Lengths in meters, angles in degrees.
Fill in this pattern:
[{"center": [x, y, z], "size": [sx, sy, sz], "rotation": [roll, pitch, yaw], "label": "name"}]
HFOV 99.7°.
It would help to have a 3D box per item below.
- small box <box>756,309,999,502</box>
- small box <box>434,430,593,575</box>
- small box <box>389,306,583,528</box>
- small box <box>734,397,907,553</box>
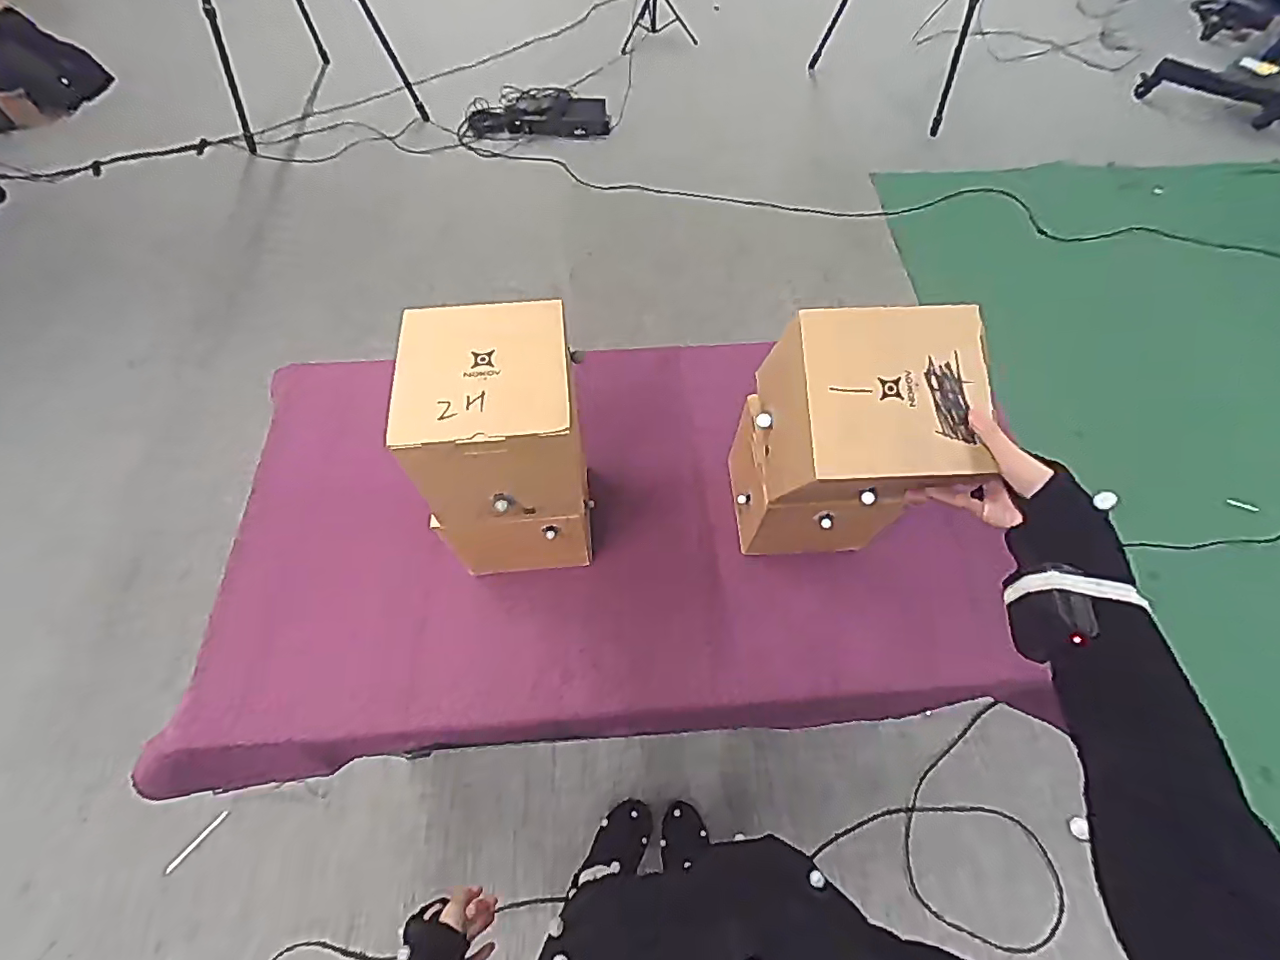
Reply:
[{"center": [0.235, -0.068, 0.578], "size": [0.179, 0.176, 0.168], "rotation": [-3, 81, -2], "label": "small box"}, {"center": [-0.162, 0.022, 0.739], "size": [0.179, 0.176, 0.168], "rotation": [-5, 60, -4], "label": "small box"}, {"center": [-0.154, -0.066, 0.599], "size": [0.168, 0.176, 0.179], "rotation": [-6, 60, -4], "label": "small box"}, {"center": [0.232, -0.003, 0.754], "size": [0.179, 0.176, 0.168], "rotation": [-2, 61, -2], "label": "small box"}]
